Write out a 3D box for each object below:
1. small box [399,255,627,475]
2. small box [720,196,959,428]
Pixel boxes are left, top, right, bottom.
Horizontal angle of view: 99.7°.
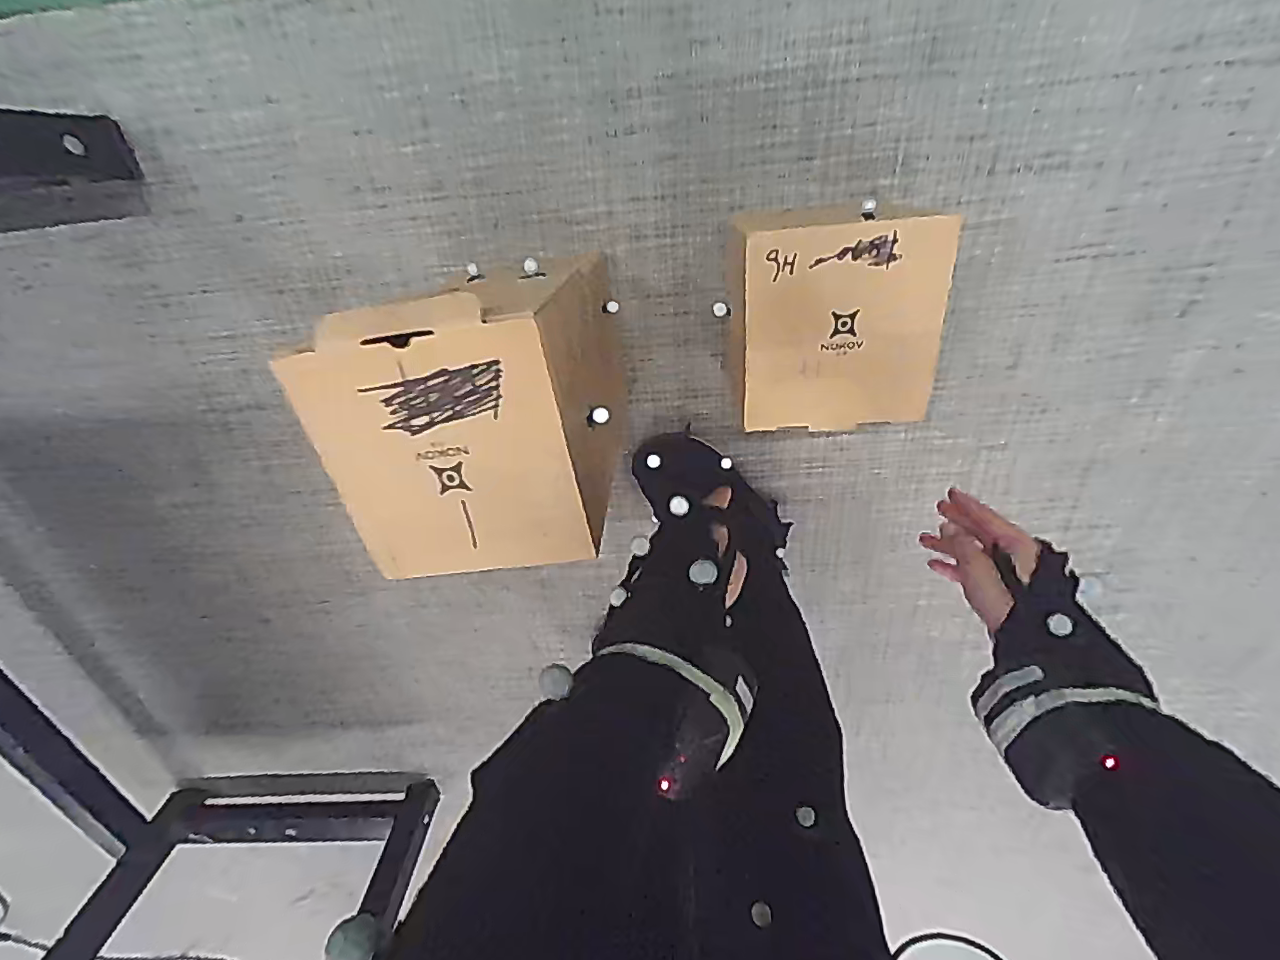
[{"bbox_3d":[-0.111,-0.127,0.560,0.168,0.176,0.179,-6,119,7],"label":"small box"},{"bbox_3d":[0.169,-0.167,0.526,0.168,0.176,0.179,-3,121,3],"label":"small box"}]
